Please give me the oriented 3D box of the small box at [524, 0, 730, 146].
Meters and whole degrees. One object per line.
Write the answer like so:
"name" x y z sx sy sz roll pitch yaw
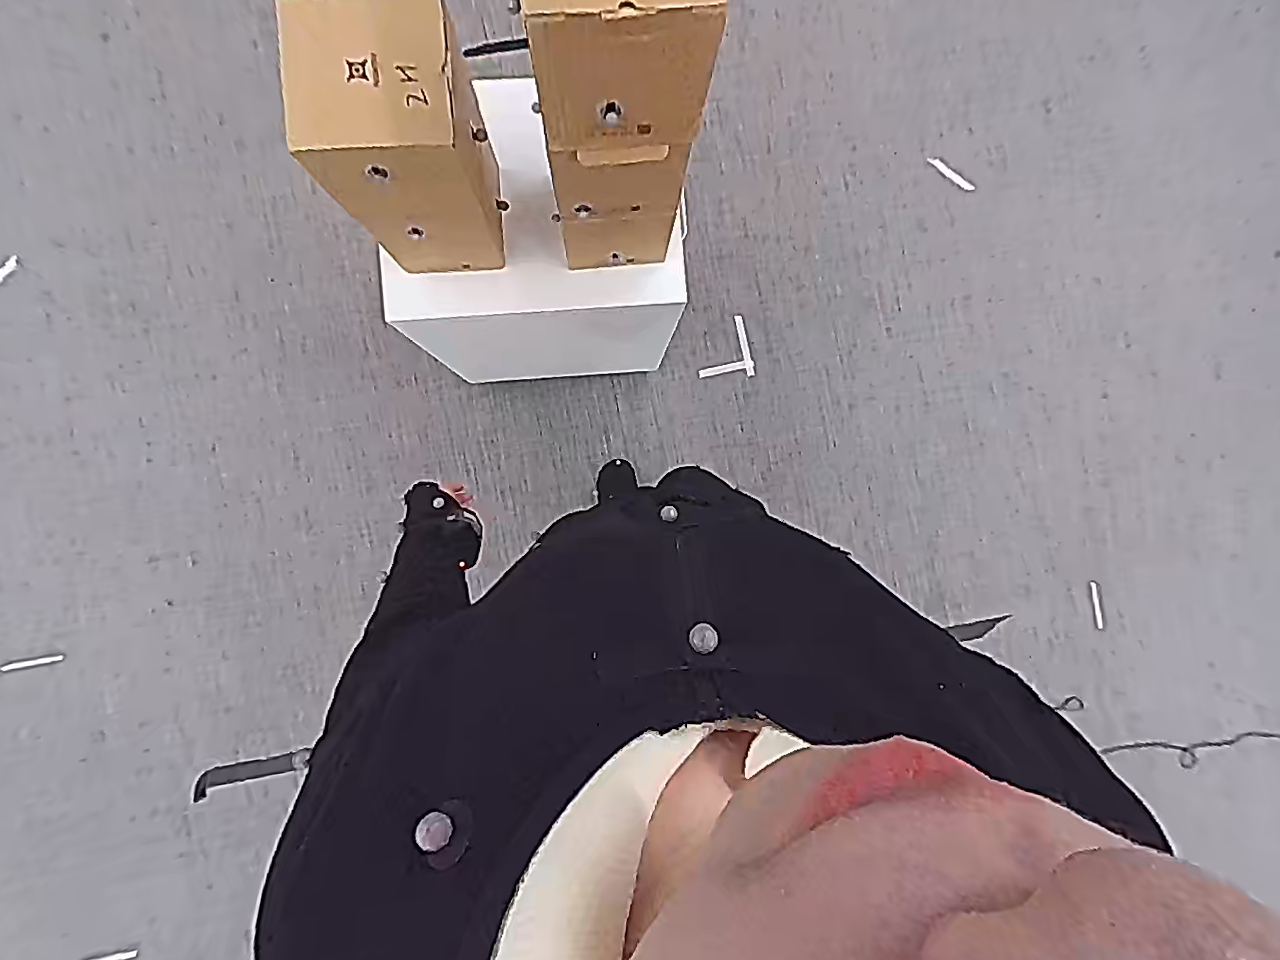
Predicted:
"small box" -0.023 -0.452 0.505 0.168 0.176 0.179 -7 91 -3

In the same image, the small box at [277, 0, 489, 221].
"small box" -0.293 -0.431 0.650 0.179 0.176 0.168 -4 91 -4

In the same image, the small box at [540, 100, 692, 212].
"small box" -0.033 -0.453 0.667 0.168 0.176 0.179 -6 90 -3

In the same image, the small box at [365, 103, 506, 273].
"small box" -0.303 -0.434 0.815 0.168 0.176 0.179 -4 89 -3
